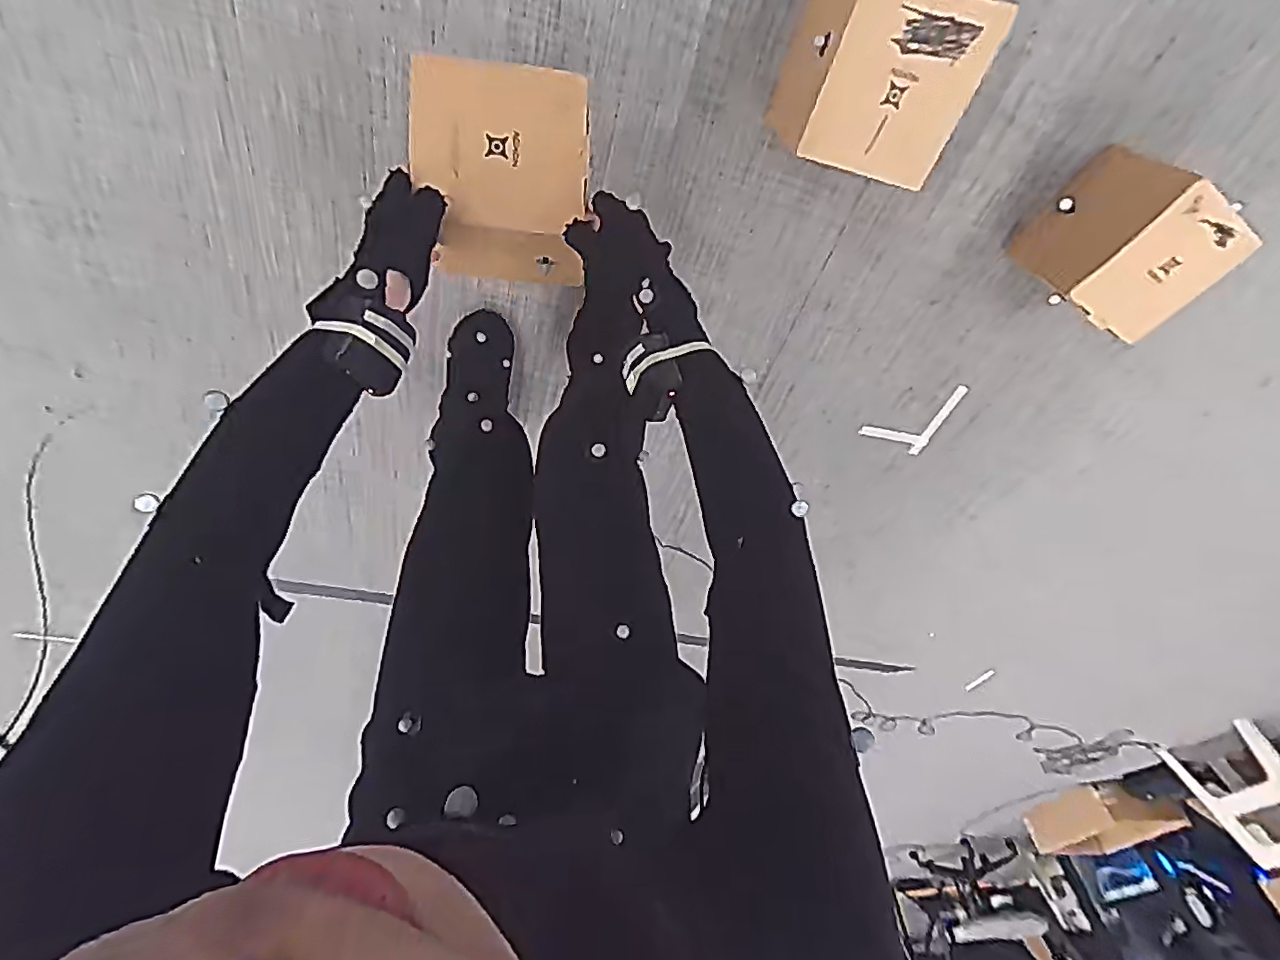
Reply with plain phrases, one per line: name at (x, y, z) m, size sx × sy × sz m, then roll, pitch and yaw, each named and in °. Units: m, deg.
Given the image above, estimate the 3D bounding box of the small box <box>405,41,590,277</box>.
small box at (-0.150, -0.340, 0.610) m, size 0.179 × 0.176 × 0.168 m, roll 1°, pitch 92°, yaw -7°

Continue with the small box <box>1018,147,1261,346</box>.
small box at (0.694, -0.336, 0.780) m, size 0.168 × 0.176 × 0.179 m, roll 22°, pitch 129°, yaw -22°

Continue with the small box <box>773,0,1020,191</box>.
small box at (0.272, -0.473, 0.627) m, size 0.168 × 0.176 × 0.179 m, roll 10°, pitch 133°, yaw -12°
